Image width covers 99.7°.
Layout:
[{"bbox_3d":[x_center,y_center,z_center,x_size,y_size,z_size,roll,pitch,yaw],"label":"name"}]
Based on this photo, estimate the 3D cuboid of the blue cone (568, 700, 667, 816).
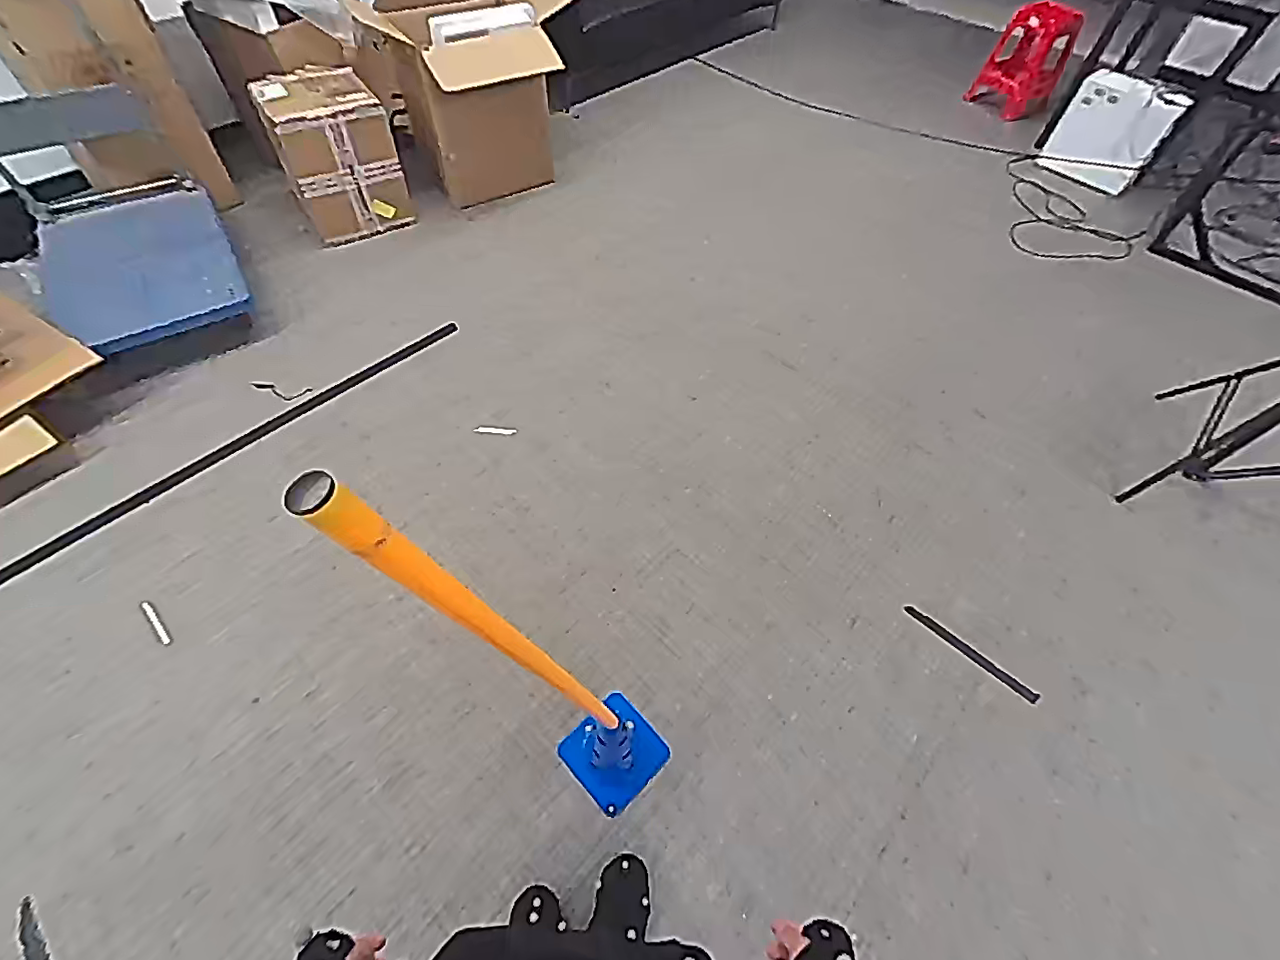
[{"bbox_3d":[-0.046,0.546,1.120,0.193,0.380,0.192,-37,65,-24],"label":"blue cone"}]
